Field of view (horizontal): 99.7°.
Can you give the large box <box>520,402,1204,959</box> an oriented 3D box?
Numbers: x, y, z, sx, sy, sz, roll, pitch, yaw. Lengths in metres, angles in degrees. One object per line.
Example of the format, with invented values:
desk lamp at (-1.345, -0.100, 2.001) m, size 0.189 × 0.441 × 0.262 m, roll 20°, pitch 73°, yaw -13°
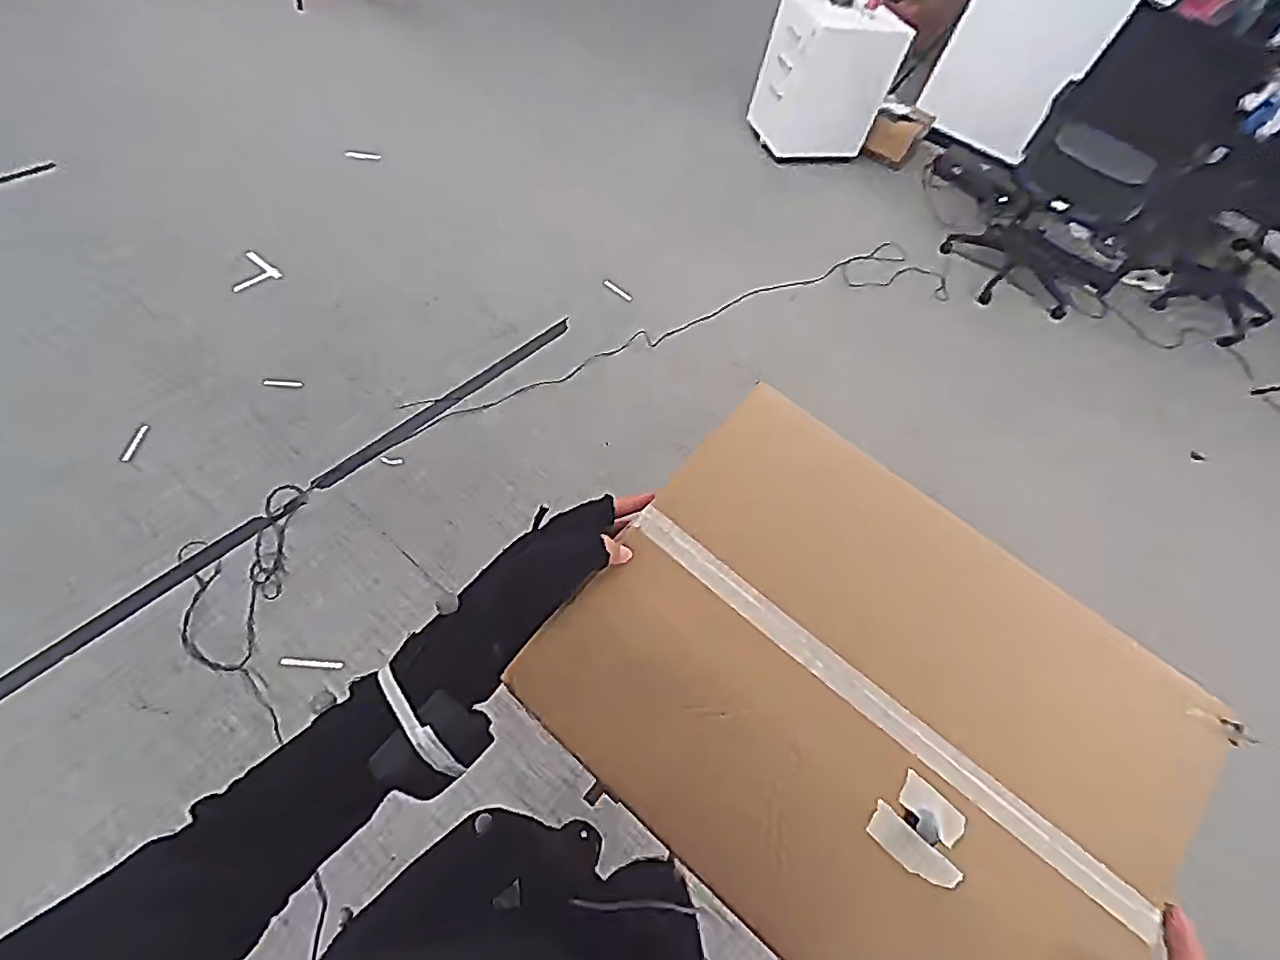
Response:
large box at (0.155, 0.206, 0.527) m, size 0.408 × 0.320 × 0.320 m, roll 39°, pitch 74°, yaw 13°
